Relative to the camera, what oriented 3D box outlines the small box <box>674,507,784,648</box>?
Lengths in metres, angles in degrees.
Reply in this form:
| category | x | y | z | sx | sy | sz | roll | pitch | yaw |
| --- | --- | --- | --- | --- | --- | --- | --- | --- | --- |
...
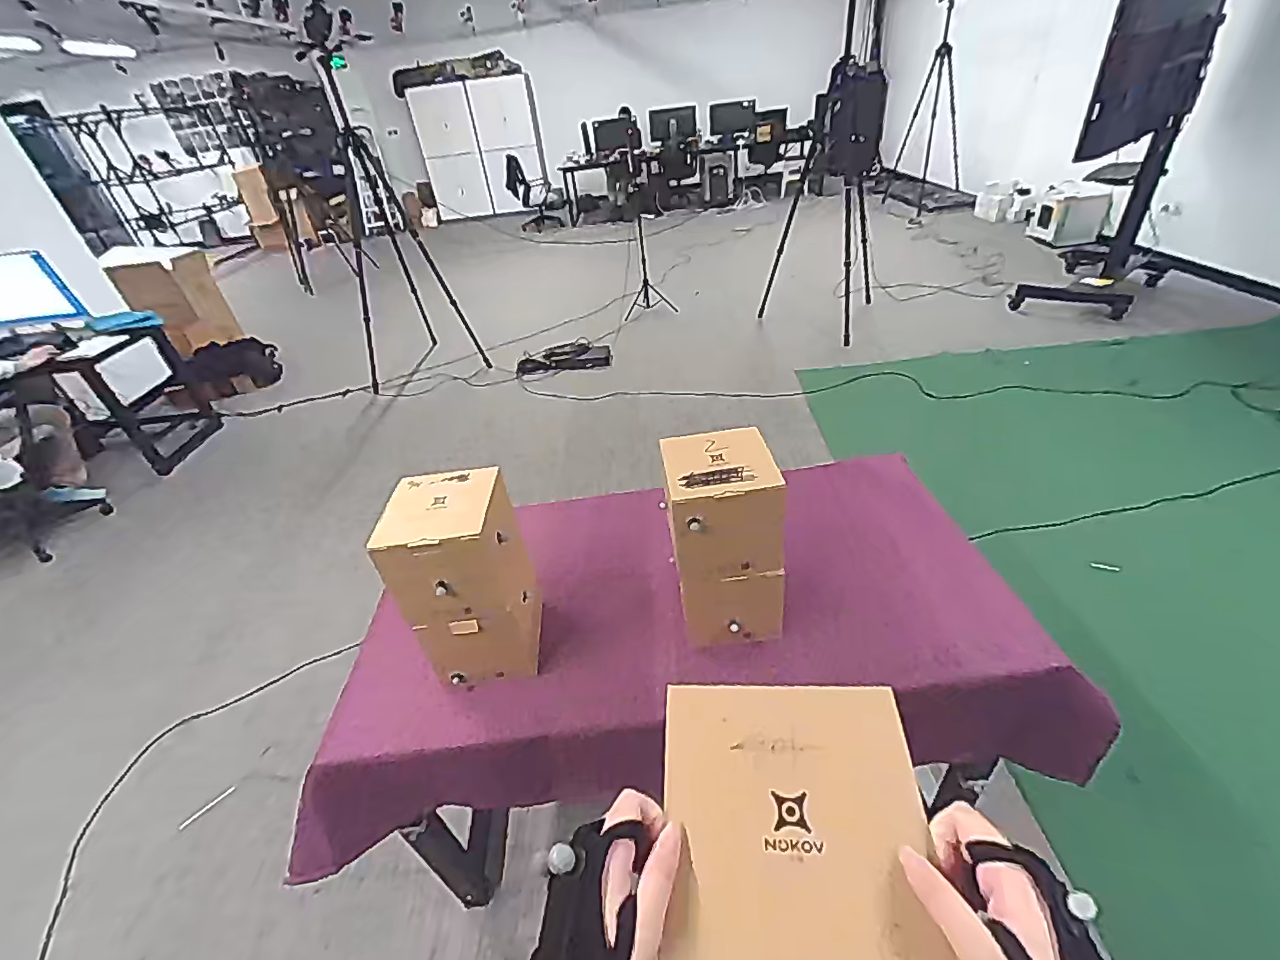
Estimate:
| category | x | y | z | sx | sy | sz | roll | pitch | yaw |
| --- | --- | --- | --- | --- | --- | --- | --- | --- | --- |
| small box | 0.153 | 0.173 | 0.966 | 0.168 | 0.176 | 0.179 | -7 | 36 | 3 |

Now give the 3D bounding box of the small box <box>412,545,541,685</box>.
| category | x | y | z | sx | sy | sz | roll | pitch | yaw |
| --- | --- | --- | --- | --- | --- | --- | --- | --- | --- |
| small box | -0.276 | 0.243 | 0.959 | 0.168 | 0.176 | 0.179 | -8 | 35 | -1 |

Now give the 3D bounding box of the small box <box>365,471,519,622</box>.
| category | x | y | z | sx | sy | sz | roll | pitch | yaw |
| --- | --- | --- | --- | --- | --- | --- | --- | --- | --- |
| small box | -0.299 | 0.111 | 0.864 | 0.168 | 0.176 | 0.179 | -7 | 36 | 1 |
